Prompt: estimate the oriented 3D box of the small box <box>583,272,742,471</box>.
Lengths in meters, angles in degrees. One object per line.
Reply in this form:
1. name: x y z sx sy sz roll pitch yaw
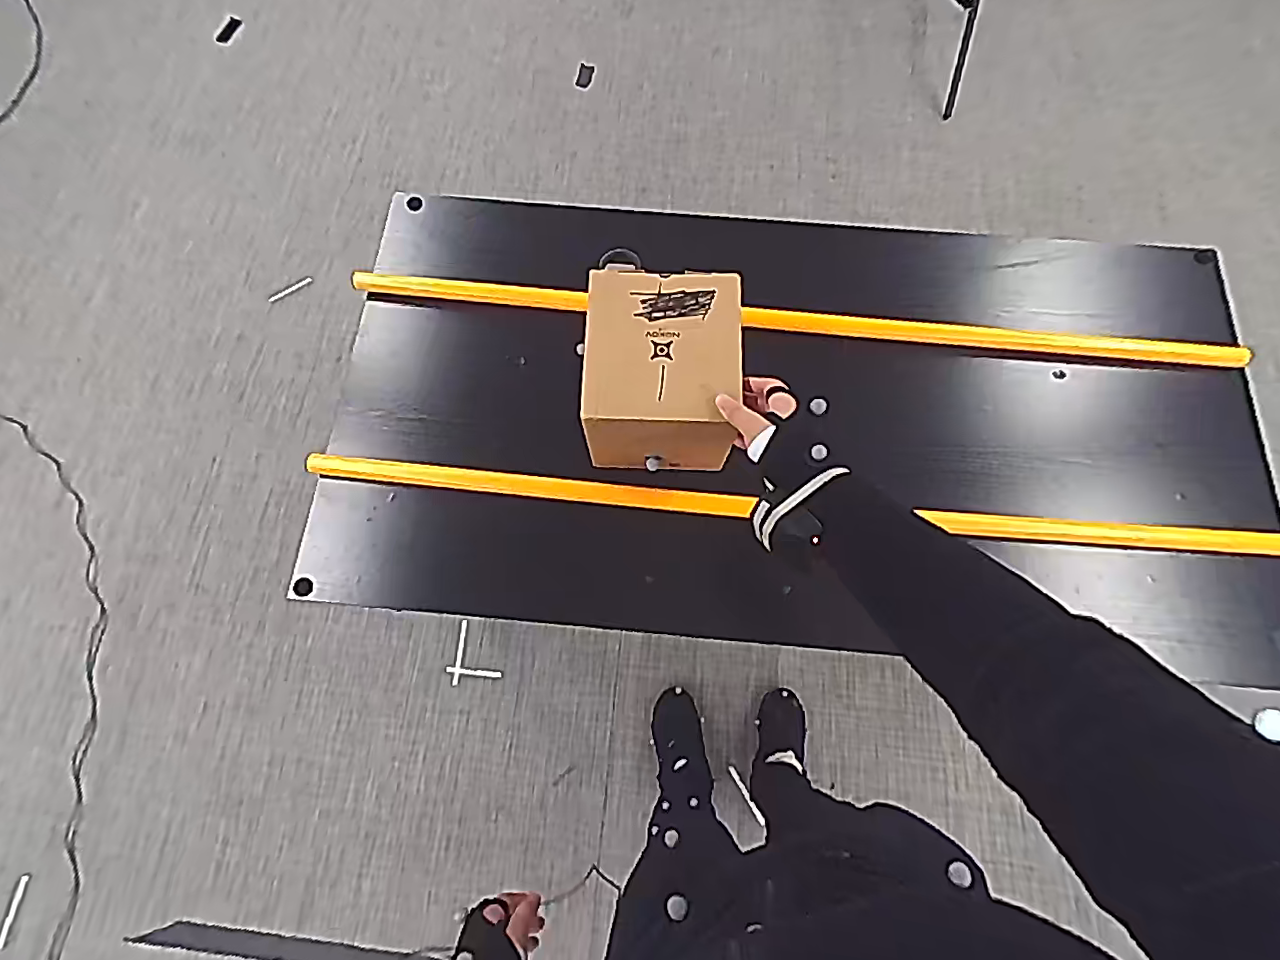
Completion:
1. small box: 0.026 -0.121 0.648 0.168 0.176 0.179 2 75 1
